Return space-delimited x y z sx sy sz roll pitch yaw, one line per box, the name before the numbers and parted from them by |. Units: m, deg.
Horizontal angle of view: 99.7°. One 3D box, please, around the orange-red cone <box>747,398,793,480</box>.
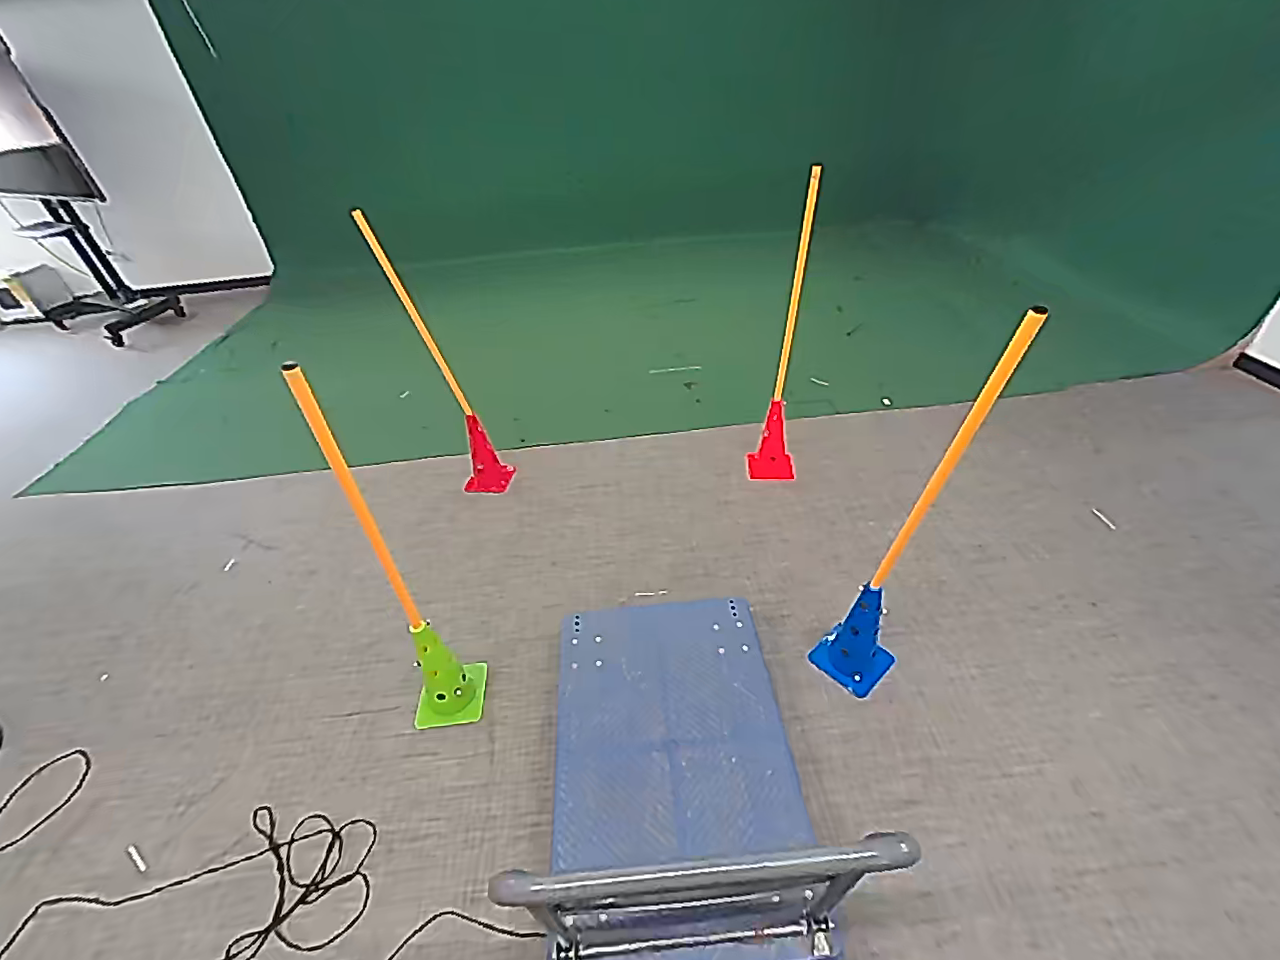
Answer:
orange-red cone | 0.575 -0.192 2.340 0.198 0.360 0.199 1 40 8
